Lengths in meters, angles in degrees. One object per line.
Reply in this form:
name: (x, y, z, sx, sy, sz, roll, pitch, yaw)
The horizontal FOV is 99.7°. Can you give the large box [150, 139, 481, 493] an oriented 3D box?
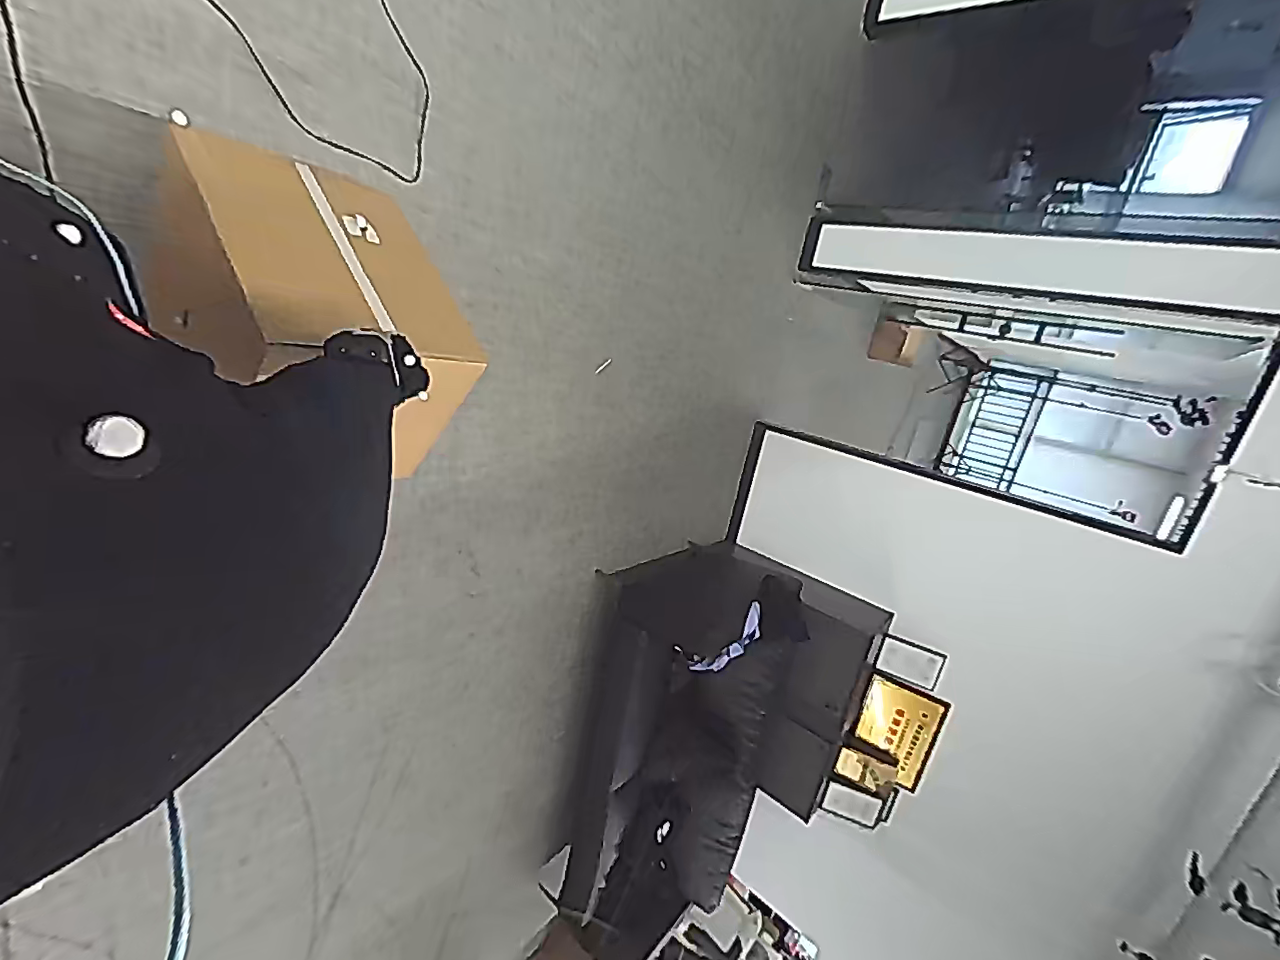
large box: (-0.537, -0.239, 0.885, 0.320, 0.408, 0.320, -43, 160, 31)
